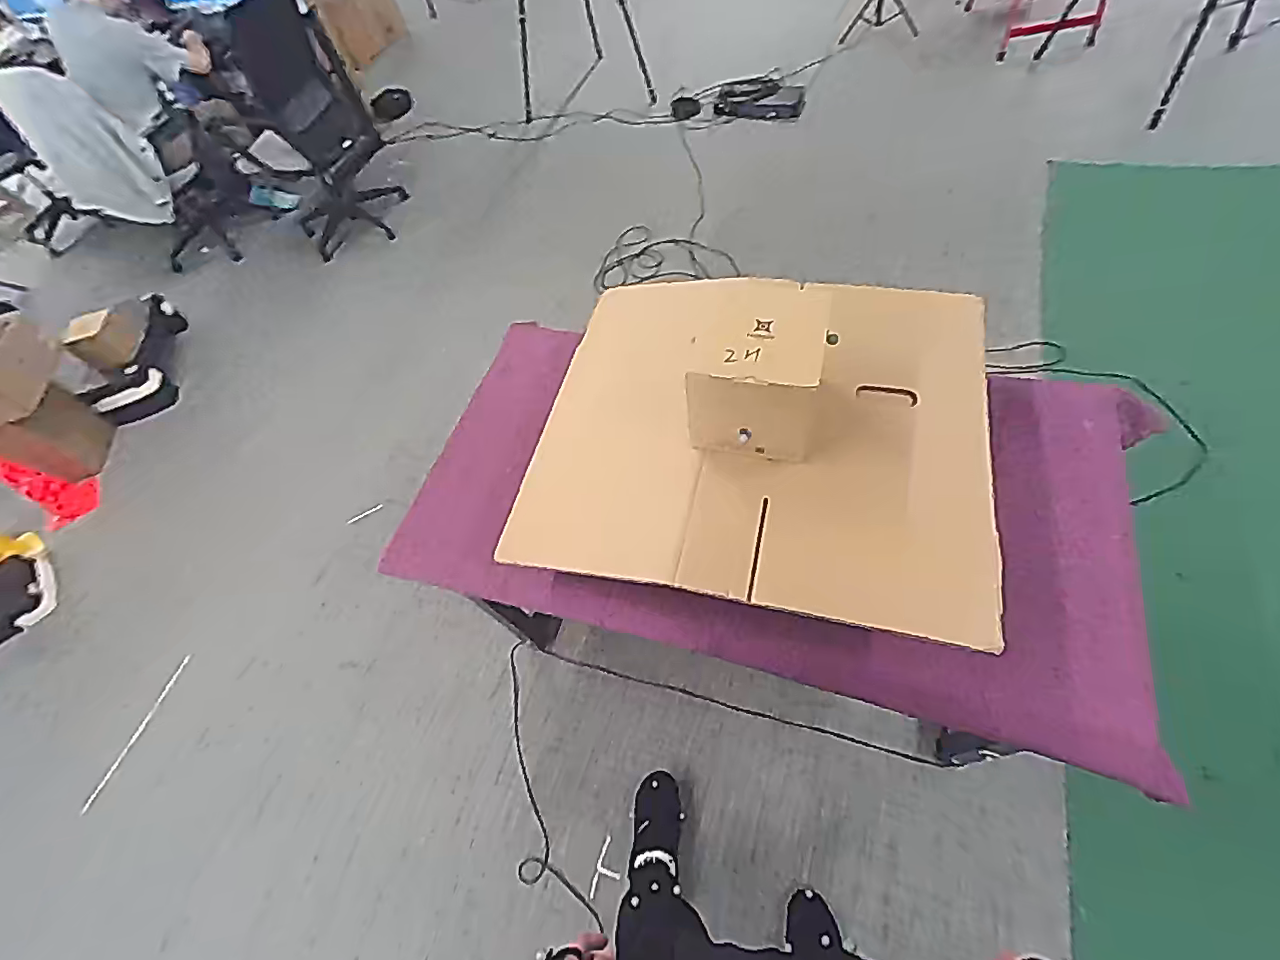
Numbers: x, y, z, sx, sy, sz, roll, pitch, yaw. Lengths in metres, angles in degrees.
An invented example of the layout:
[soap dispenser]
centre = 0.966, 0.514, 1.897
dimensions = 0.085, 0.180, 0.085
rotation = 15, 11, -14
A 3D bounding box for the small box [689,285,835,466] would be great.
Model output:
[small box]
centre = 0.171, -0.147, 0.772
dimensions = 0.168, 0.176, 0.179
rotation = 10, 62, 14
